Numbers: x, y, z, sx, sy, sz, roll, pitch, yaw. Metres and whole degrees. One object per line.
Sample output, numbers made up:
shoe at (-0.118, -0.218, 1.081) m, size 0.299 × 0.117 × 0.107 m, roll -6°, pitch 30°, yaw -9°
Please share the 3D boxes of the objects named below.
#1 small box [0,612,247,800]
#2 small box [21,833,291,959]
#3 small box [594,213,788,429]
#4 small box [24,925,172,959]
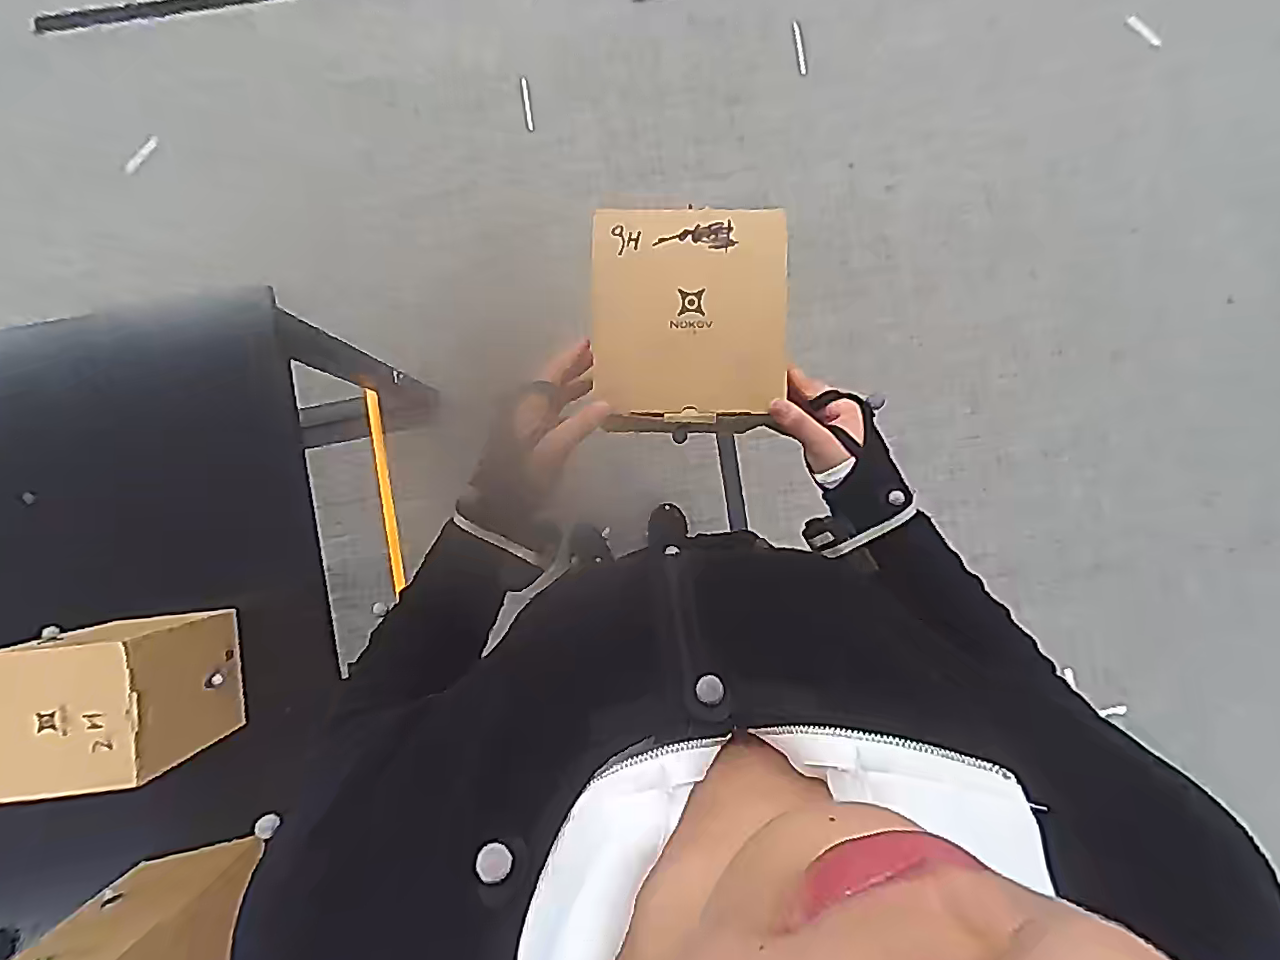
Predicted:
small box at (-0.647, 0.271, 0.685) m, size 0.179 × 0.176 × 0.168 m, roll -6°, pitch 89°, yaw -1°
small box at (-0.588, 0.590, 0.679) m, size 0.179 × 0.176 × 0.168 m, roll -14°, pitch 90°, yaw -2°
small box at (0.043, -0.141, 0.538) m, size 0.168 × 0.176 × 0.179 m, roll 0°, pitch 91°, yaw -1°
small box at (-0.583, 0.588, 0.514) m, size 0.168 × 0.176 × 0.179 m, roll -14°, pitch 89°, yaw -1°
